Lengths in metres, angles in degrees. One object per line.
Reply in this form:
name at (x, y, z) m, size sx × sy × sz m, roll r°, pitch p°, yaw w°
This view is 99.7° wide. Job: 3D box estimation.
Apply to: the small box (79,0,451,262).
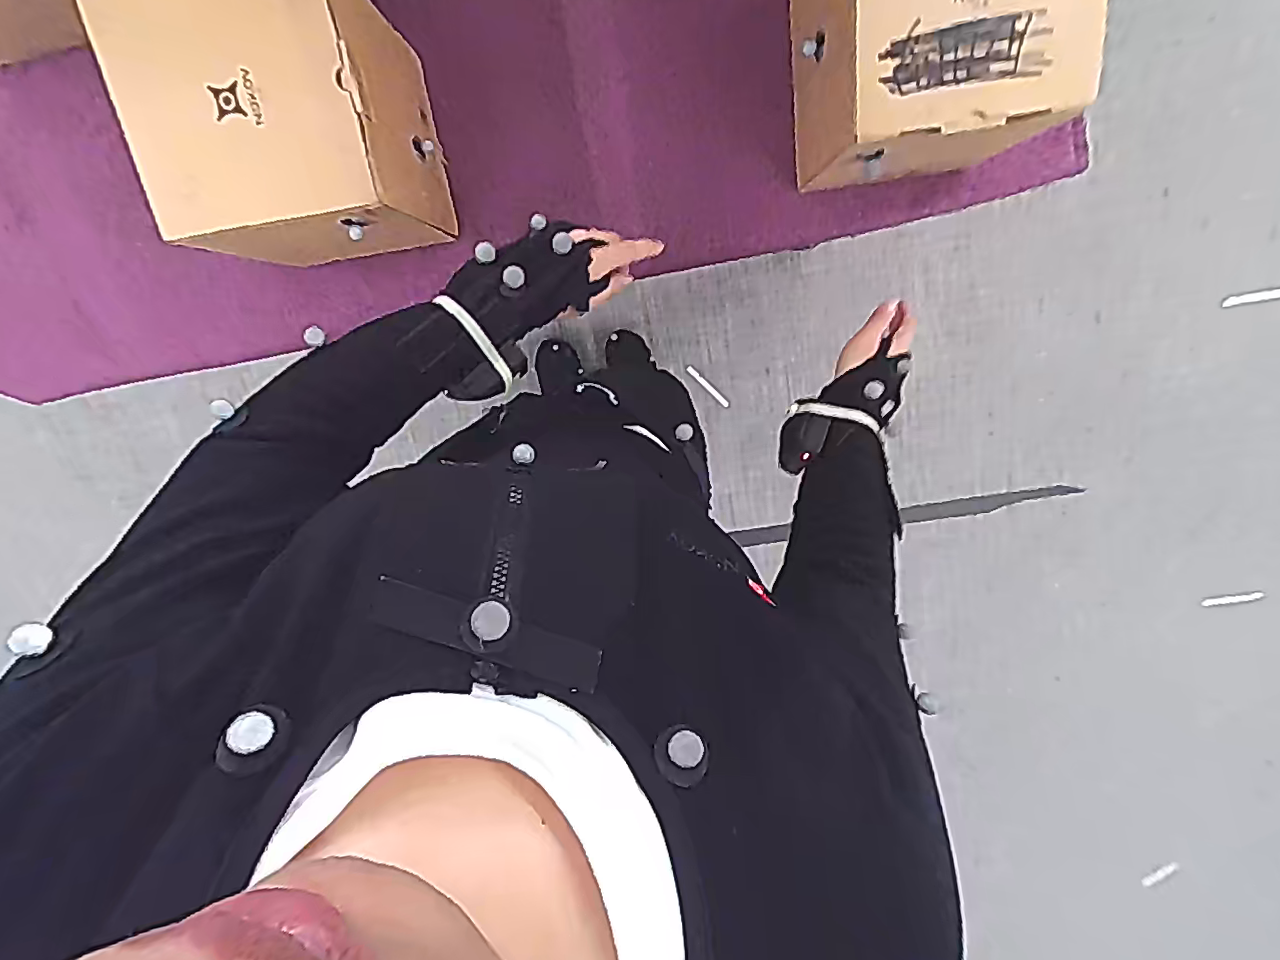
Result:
small box at (-0.290, -0.294, 0.464) m, size 0.179 × 0.176 × 0.168 m, roll -9°, pitch 105°, yaw 2°
